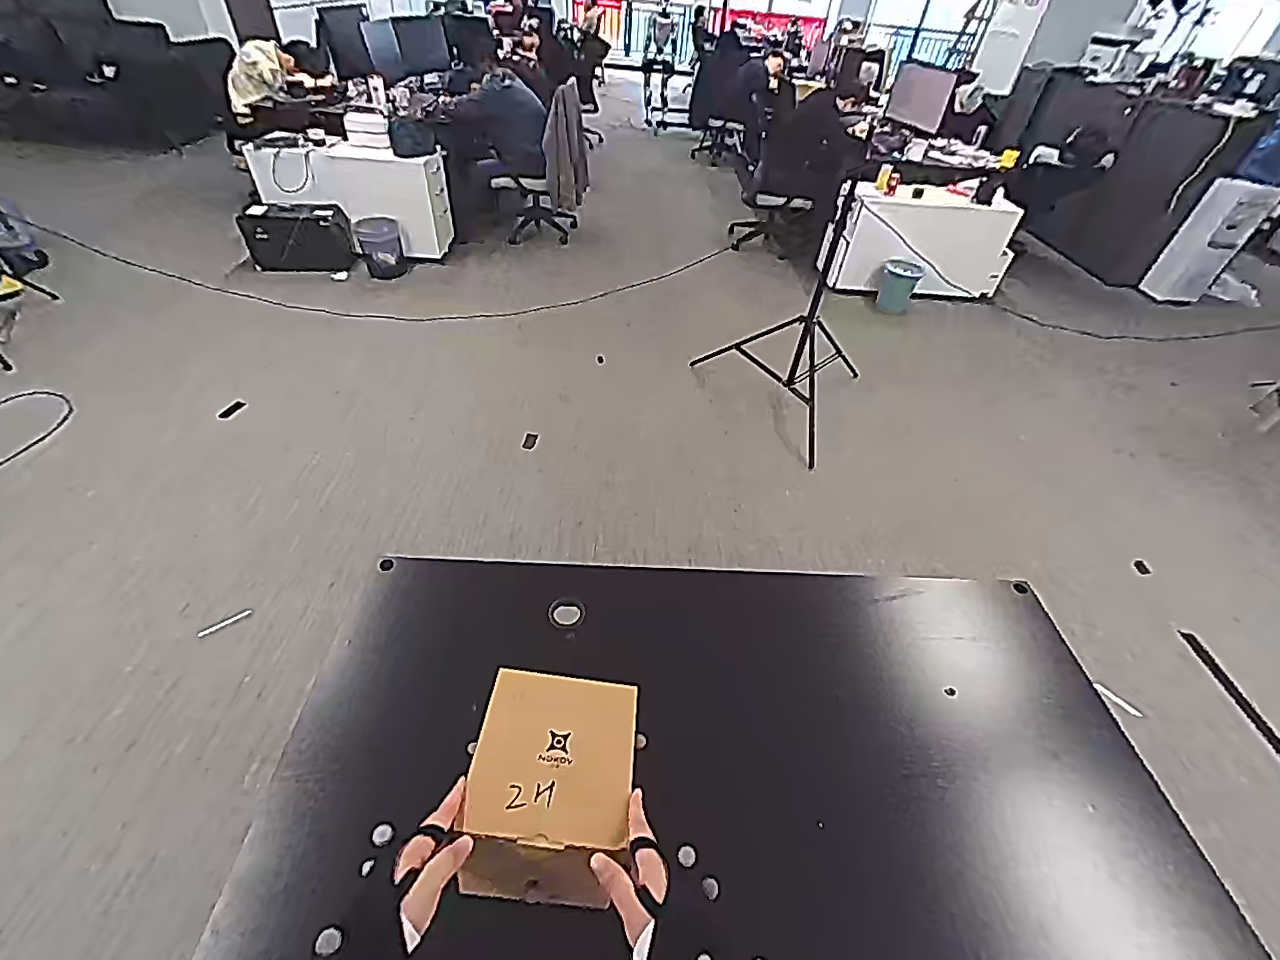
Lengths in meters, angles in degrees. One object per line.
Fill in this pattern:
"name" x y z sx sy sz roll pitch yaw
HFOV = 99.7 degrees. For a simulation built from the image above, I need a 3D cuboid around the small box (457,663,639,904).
"small box" -0.099 0.342 0.617 0.168 0.176 0.179 9 37 -2
